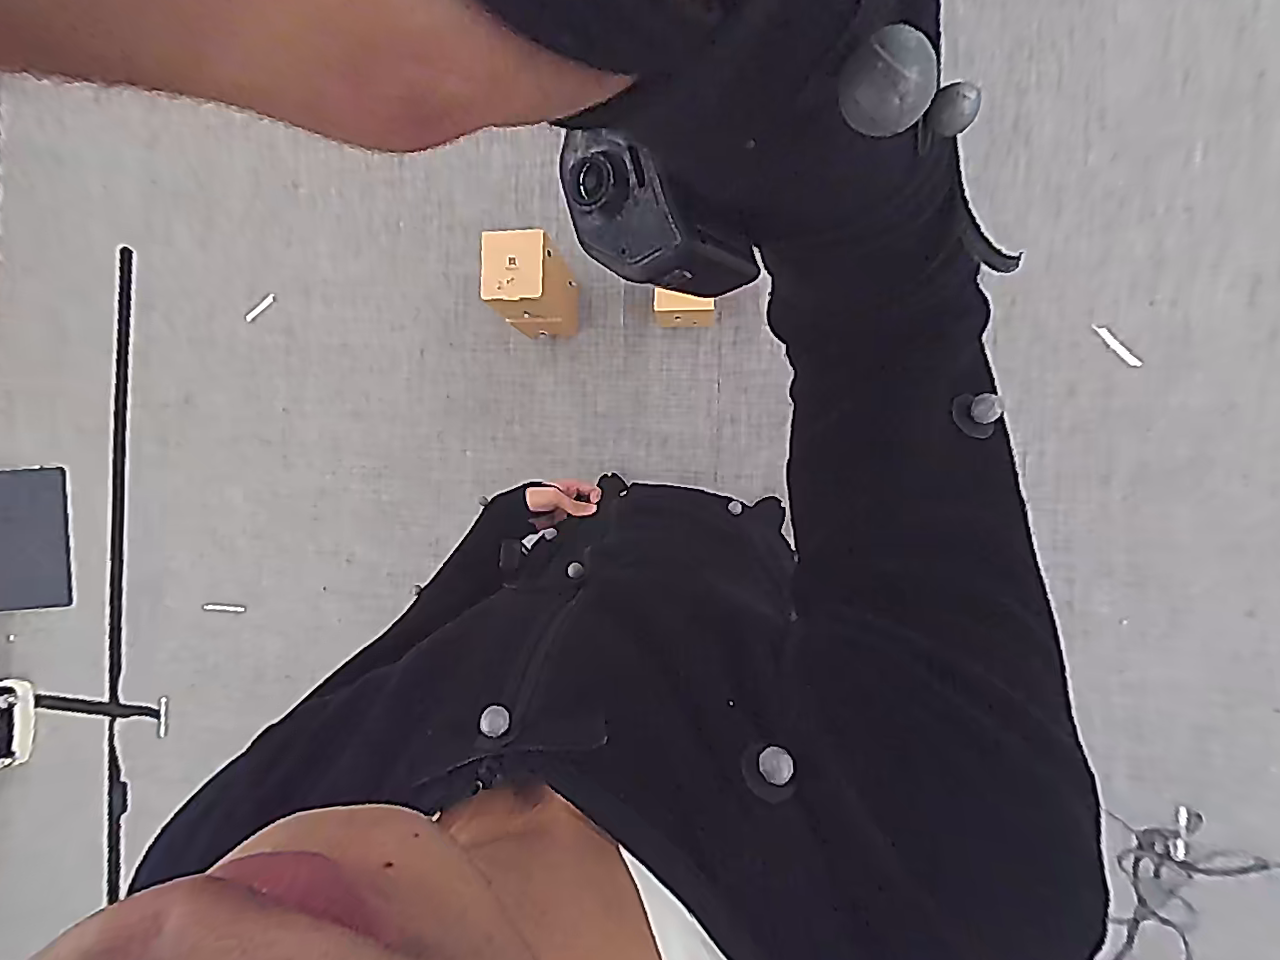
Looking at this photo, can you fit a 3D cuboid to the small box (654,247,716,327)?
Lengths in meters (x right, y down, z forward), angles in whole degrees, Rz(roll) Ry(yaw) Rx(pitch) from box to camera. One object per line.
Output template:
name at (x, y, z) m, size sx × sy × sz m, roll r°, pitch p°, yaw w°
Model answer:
small box at (0.133, -0.539, 1.538) m, size 0.168 × 0.176 × 0.179 m, roll 1°, pitch 90°, yaw 7°

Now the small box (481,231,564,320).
small box at (-0.305, -0.534, 1.429) m, size 0.168 × 0.176 × 0.179 m, roll 1°, pitch 91°, yaw 9°

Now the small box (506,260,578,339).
small box at (-0.283, -0.526, 1.591) m, size 0.168 × 0.176 × 0.179 m, roll 2°, pitch 90°, yaw 9°
